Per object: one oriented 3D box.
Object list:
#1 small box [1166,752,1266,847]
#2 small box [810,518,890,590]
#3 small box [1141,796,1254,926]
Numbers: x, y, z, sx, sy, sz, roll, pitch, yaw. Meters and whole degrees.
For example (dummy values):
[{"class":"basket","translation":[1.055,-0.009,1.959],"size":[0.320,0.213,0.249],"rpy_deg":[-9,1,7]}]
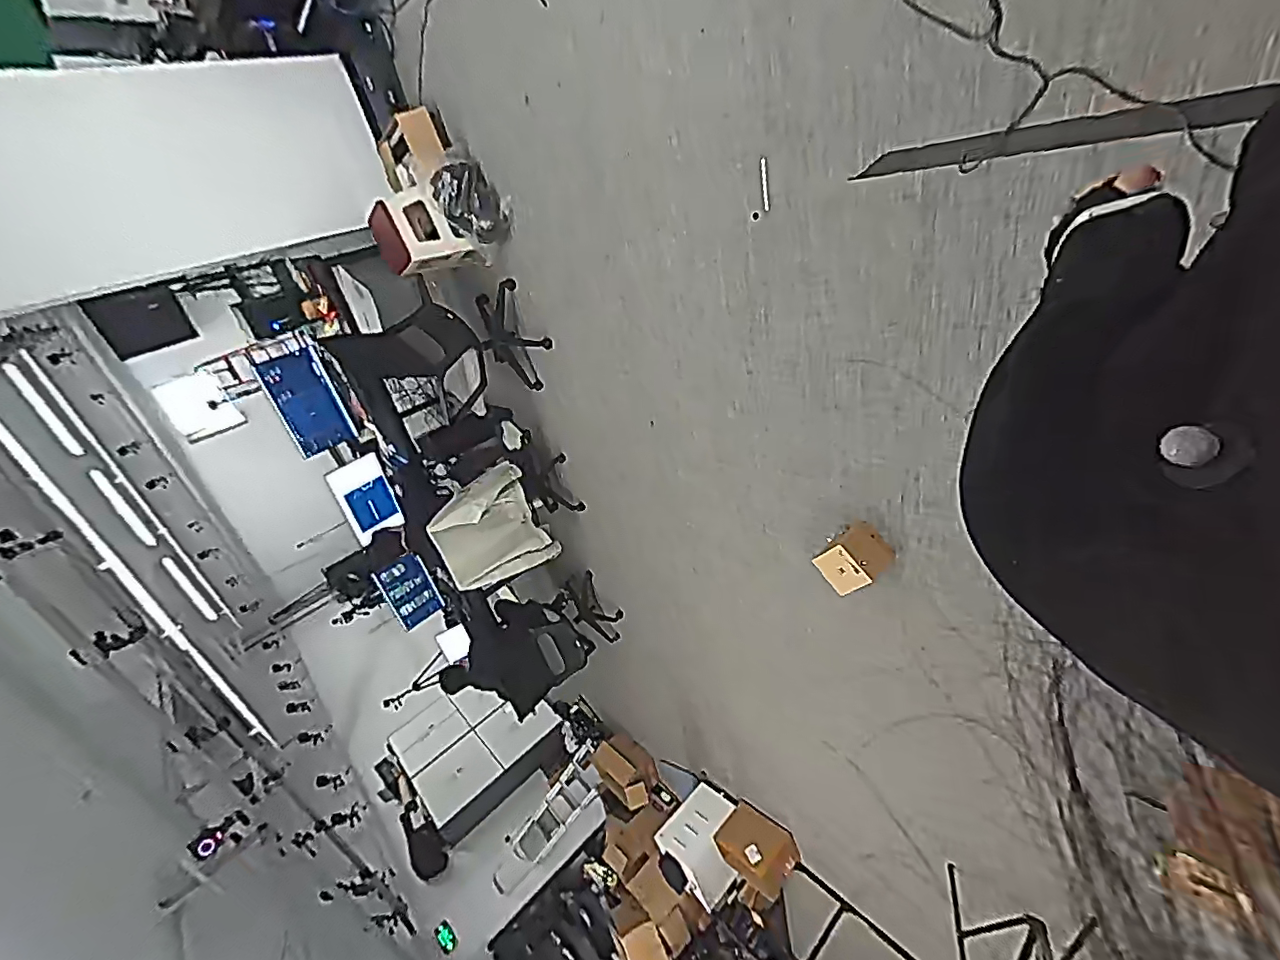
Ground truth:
[{"class":"small box","translation":[1.528,0.874,1.446],"size":[0.168,0.176,0.179],"rpy_deg":[16,132,48]},{"class":"small box","translation":[0.760,0.266,1.952],"size":[0.168,0.176,0.179],"rpy_deg":[51,149,10]},{"class":"small box","translation":[1.407,0.951,1.366],"size":[0.168,0.176,0.179],"rpy_deg":[17,132,48]}]
